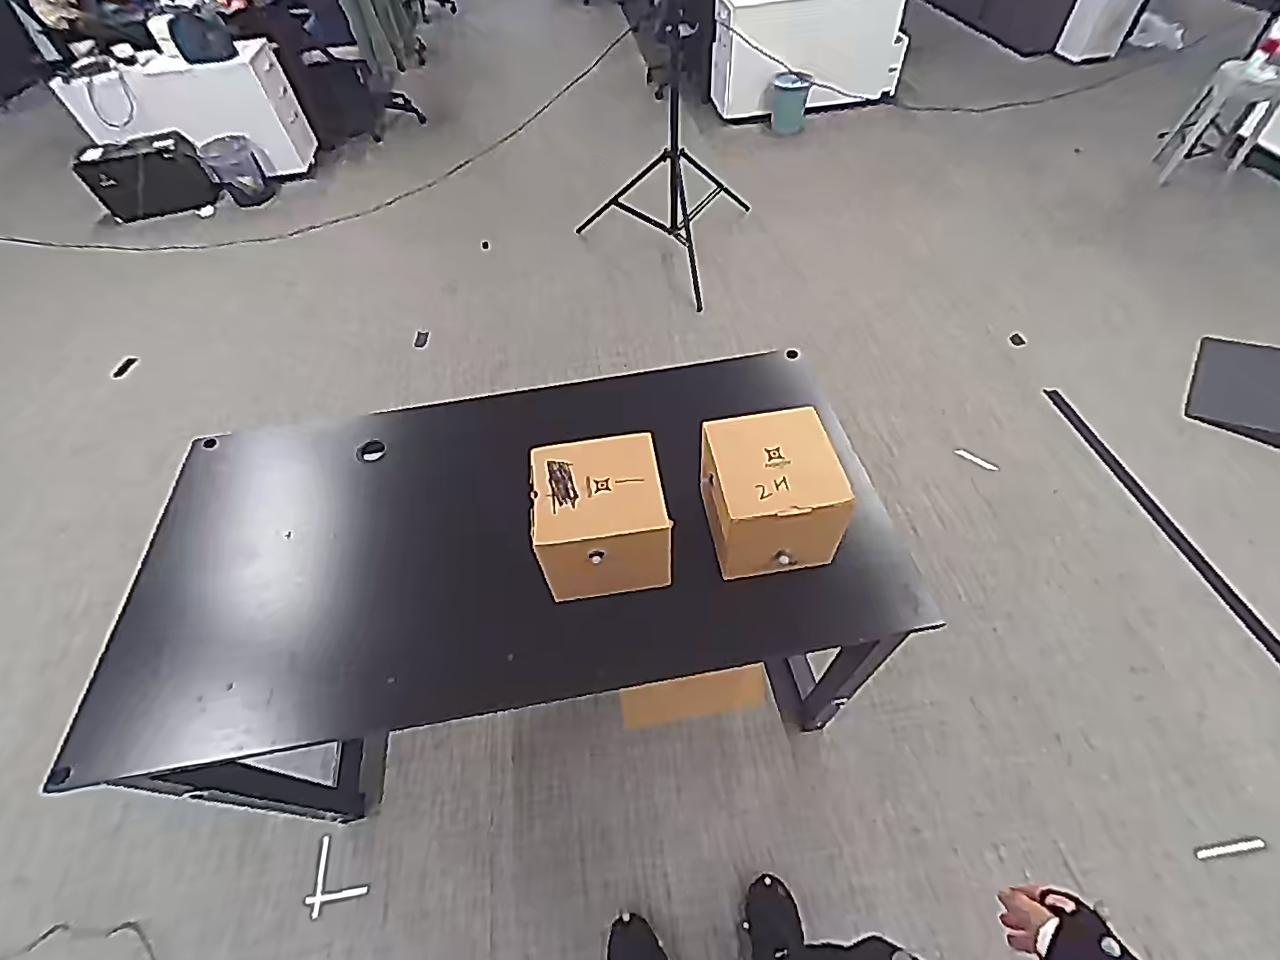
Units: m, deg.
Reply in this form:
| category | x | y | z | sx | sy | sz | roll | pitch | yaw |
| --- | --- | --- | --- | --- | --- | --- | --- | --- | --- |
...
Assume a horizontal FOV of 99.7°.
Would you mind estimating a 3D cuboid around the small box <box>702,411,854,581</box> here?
| category | x | y | z | sx | sy | sz | roll | pitch | yaw |
| --- | --- | --- | --- | --- | --- | --- | --- | --- | --- |
| small box | 0.187 | 0.026 | 0.797 | 0.168 | 0.176 | 0.179 | -9 | 53 | -1 |

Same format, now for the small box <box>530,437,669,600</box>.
| category | x | y | z | sx | sy | sz | roll | pitch | yaw |
| --- | --- | --- | --- | --- | --- | --- | --- | --- | --- |
| small box | -0.056 | 0.062 | 0.789 | 0.179 | 0.176 | 0.168 | -8 | 53 | -2 |
